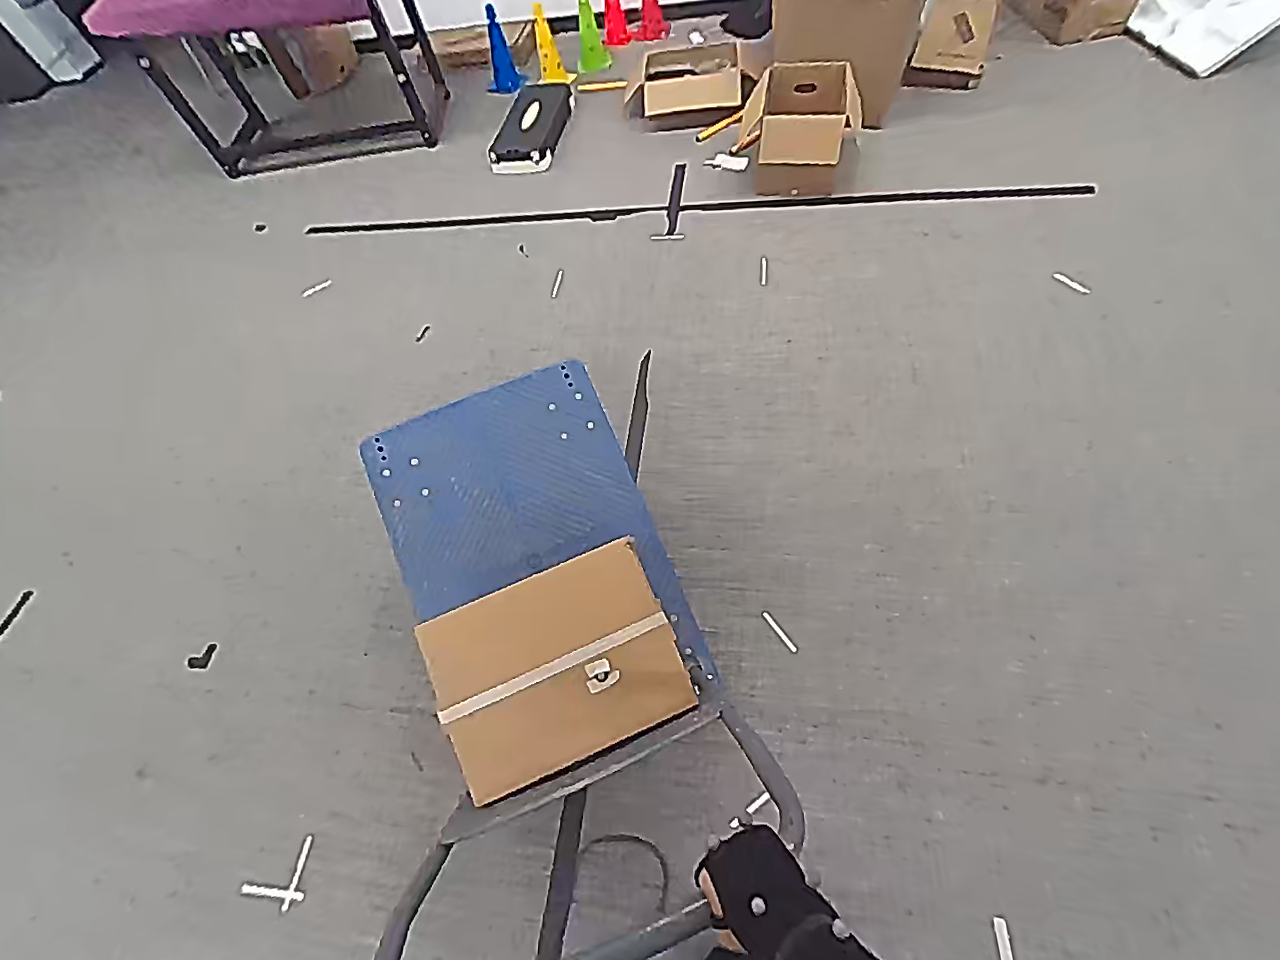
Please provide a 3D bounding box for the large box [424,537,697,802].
[{"bbox_3d":[-0.146,0.352,1.087,0.408,0.320,0.320,-24,81,-7],"label":"large box"}]
